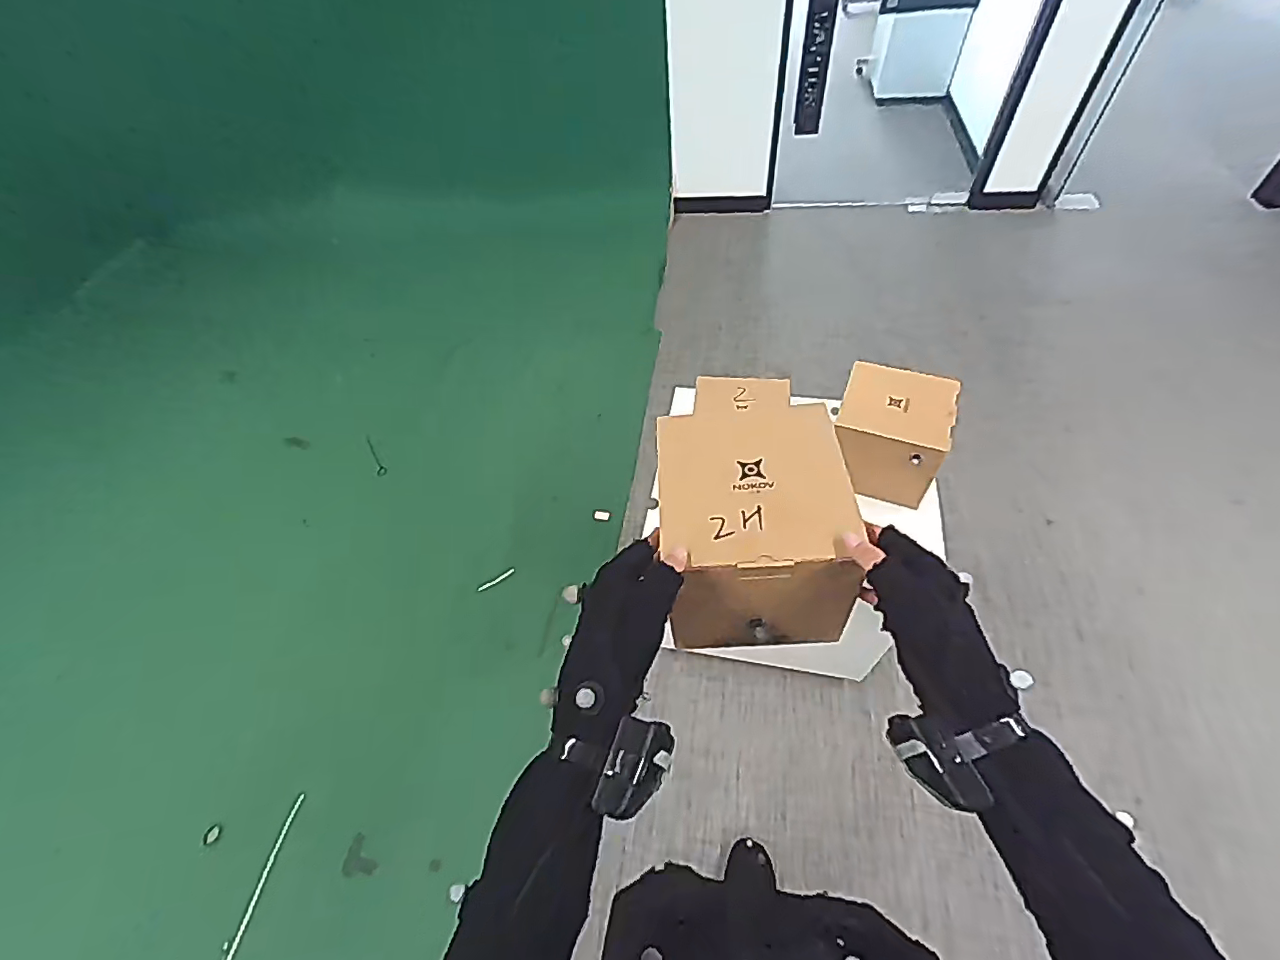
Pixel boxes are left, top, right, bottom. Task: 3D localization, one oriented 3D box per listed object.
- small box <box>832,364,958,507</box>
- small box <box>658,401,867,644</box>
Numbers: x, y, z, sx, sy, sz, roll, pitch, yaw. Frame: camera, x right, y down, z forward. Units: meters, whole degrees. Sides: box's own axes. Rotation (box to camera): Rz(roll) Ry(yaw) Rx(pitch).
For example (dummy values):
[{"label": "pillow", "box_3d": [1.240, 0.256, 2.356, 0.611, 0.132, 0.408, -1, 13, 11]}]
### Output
[{"label": "small box", "box_3d": [0.434, -0.075, 0.961, 0.179, 0.176, 0.168, 17, 57, 18]}, {"label": "small box", "box_3d": [0.107, 0.046, 0.539, 0.168, 0.176, 0.179, -5, 51, 6]}]
